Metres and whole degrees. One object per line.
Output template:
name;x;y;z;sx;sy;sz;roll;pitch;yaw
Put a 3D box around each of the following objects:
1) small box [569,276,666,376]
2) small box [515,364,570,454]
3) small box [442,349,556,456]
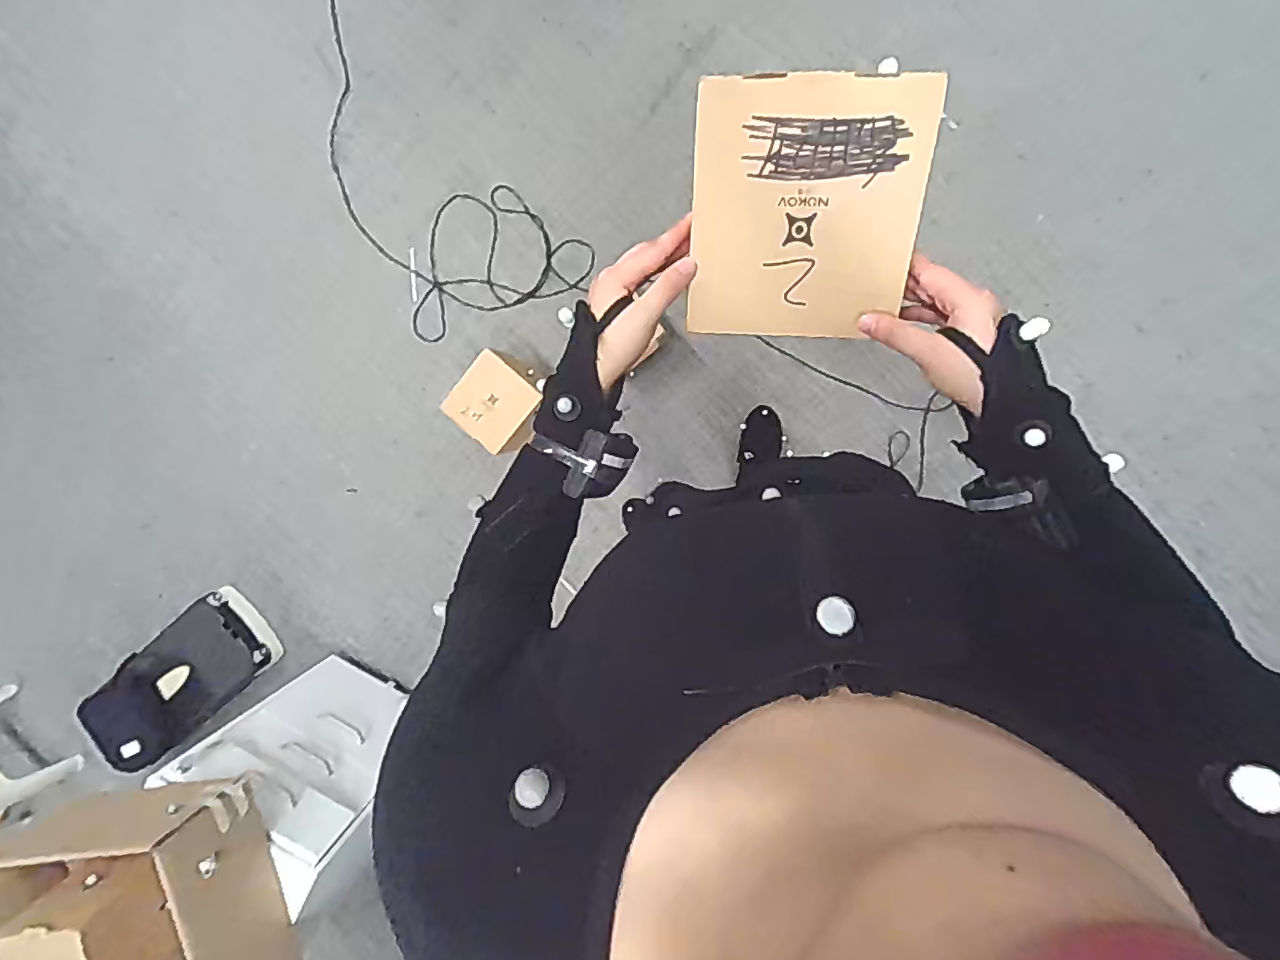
small box;-0.049;-0.379;1.368;0.168;0.176;0.179;-38;92;9
small box;-0.301;-0.193;1.420;0.168;0.176;0.179;42;100;-1
small box;-0.315;-0.179;1.257;0.168;0.176;0.179;41;100;-1
